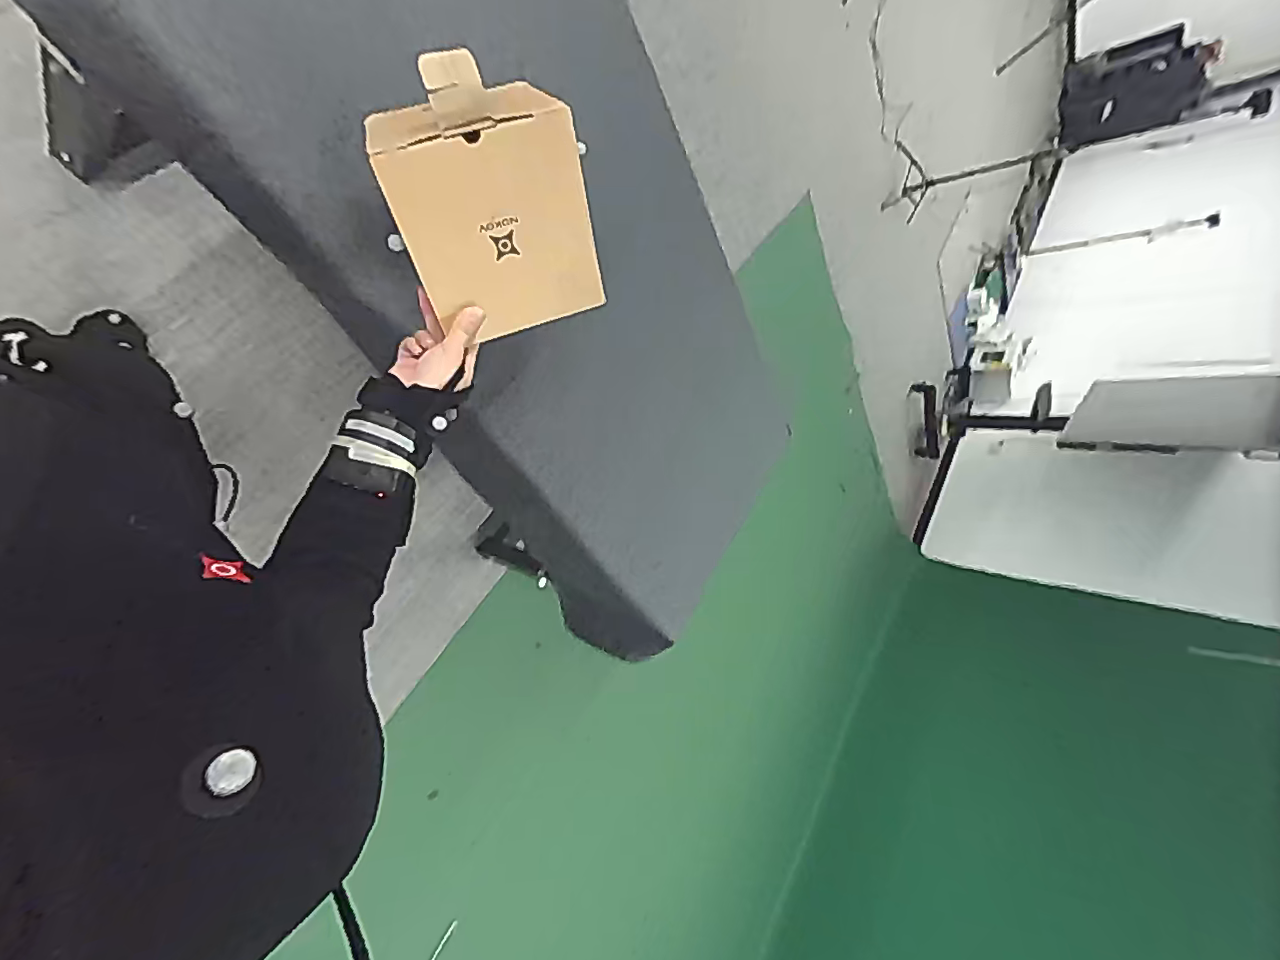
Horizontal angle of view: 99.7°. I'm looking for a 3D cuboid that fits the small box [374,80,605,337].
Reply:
[{"bbox_3d":[-0.150,-0.278,0.548,0.168,0.176,0.179,-21,135,-11],"label":"small box"}]
